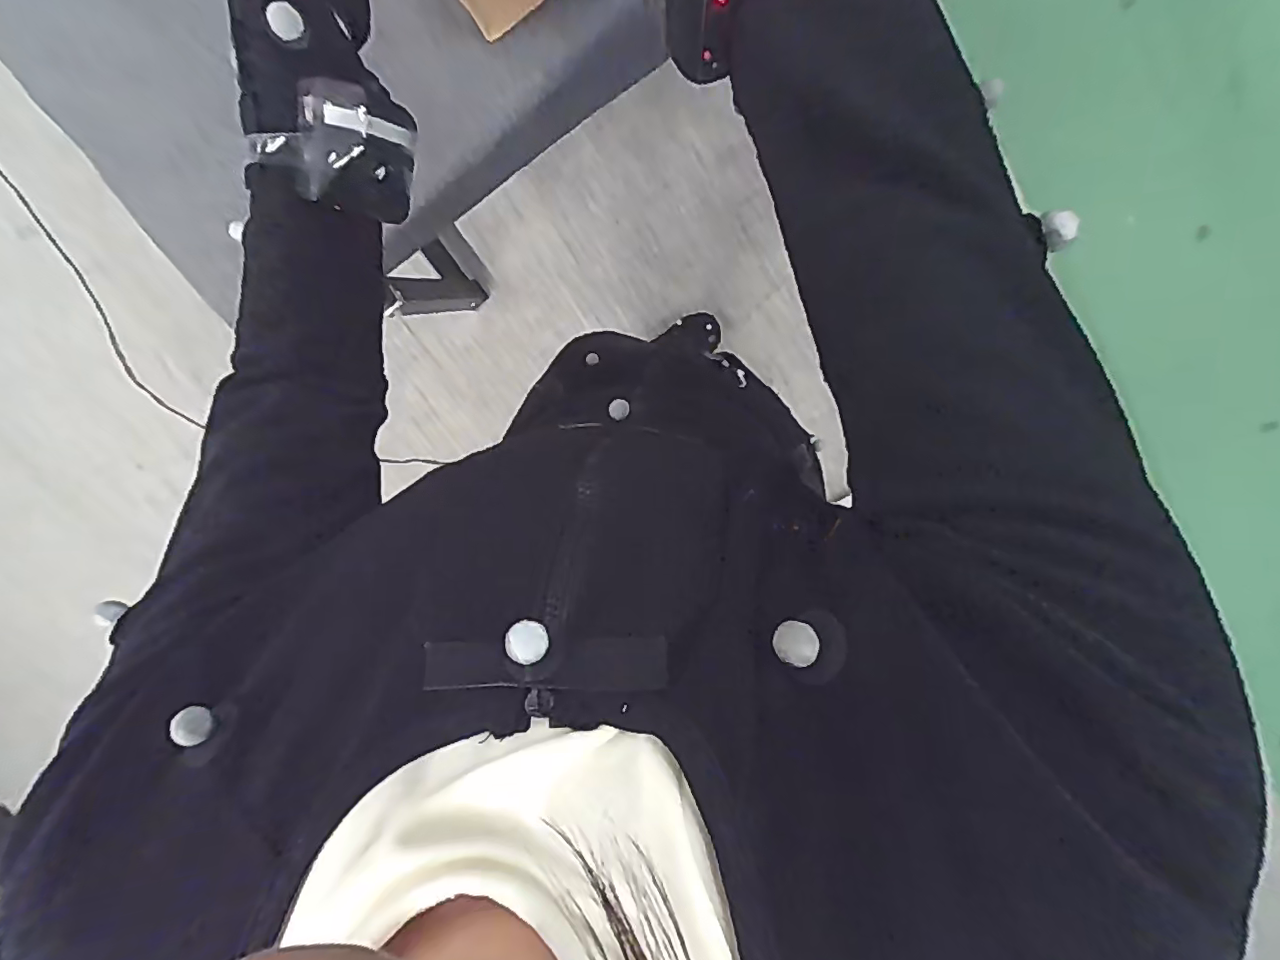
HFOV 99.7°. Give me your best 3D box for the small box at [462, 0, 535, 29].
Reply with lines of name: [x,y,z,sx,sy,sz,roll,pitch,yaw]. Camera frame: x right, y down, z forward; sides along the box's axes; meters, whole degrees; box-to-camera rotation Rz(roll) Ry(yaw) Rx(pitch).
small box: [-0.128,-0.526,0.433,0.179,0.176,0.168,-29,103,15]
